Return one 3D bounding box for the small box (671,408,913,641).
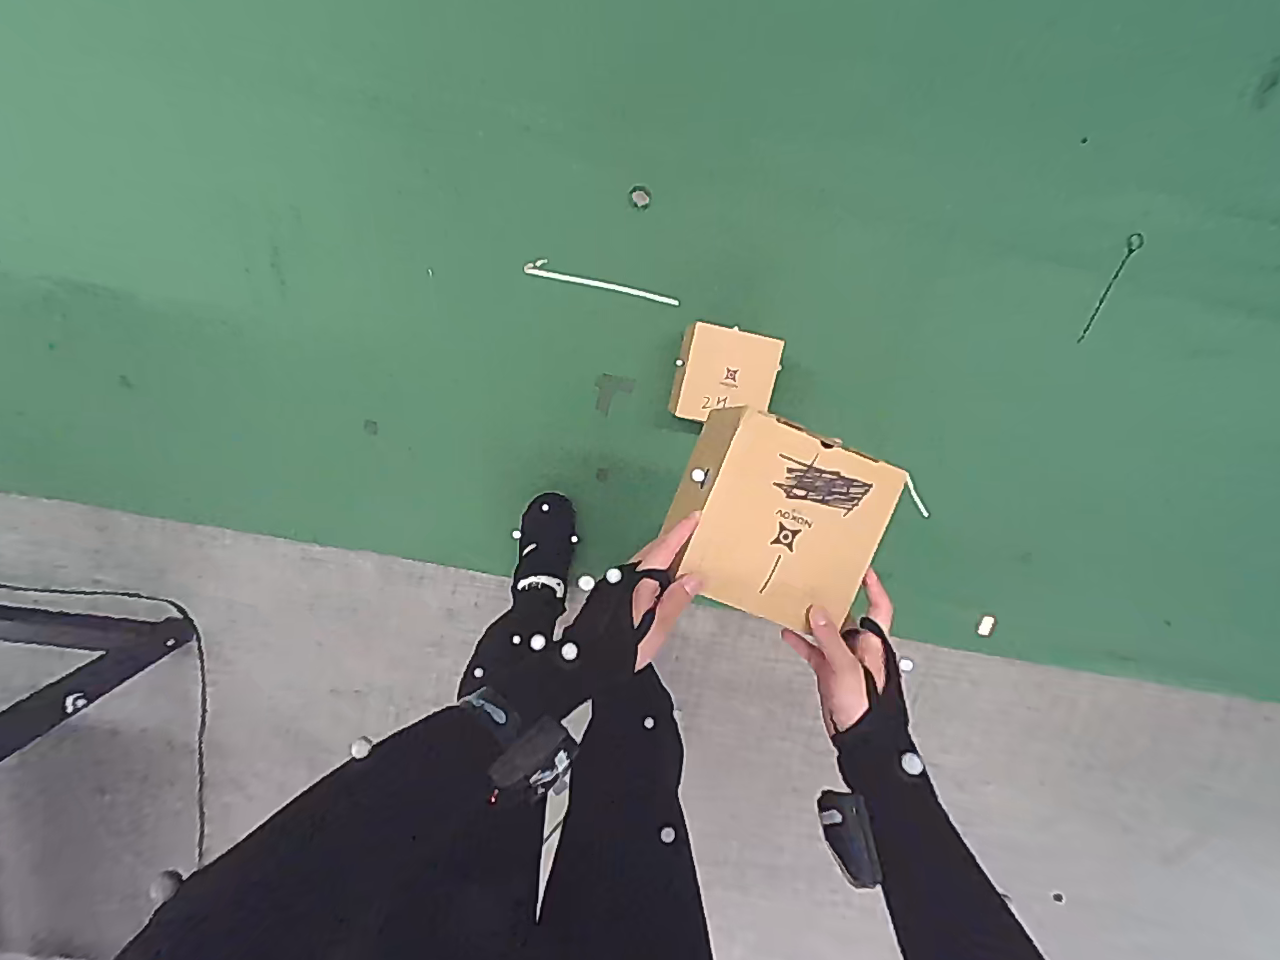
[{"bbox_3d":[0.141,0.035,0.574,0.168,0.176,0.179,22,95,-5],"label":"small box"}]

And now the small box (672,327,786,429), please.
[{"bbox_3d":[0.165,-0.188,1.063,0.168,0.176,0.179,12,100,-4],"label":"small box"}]
